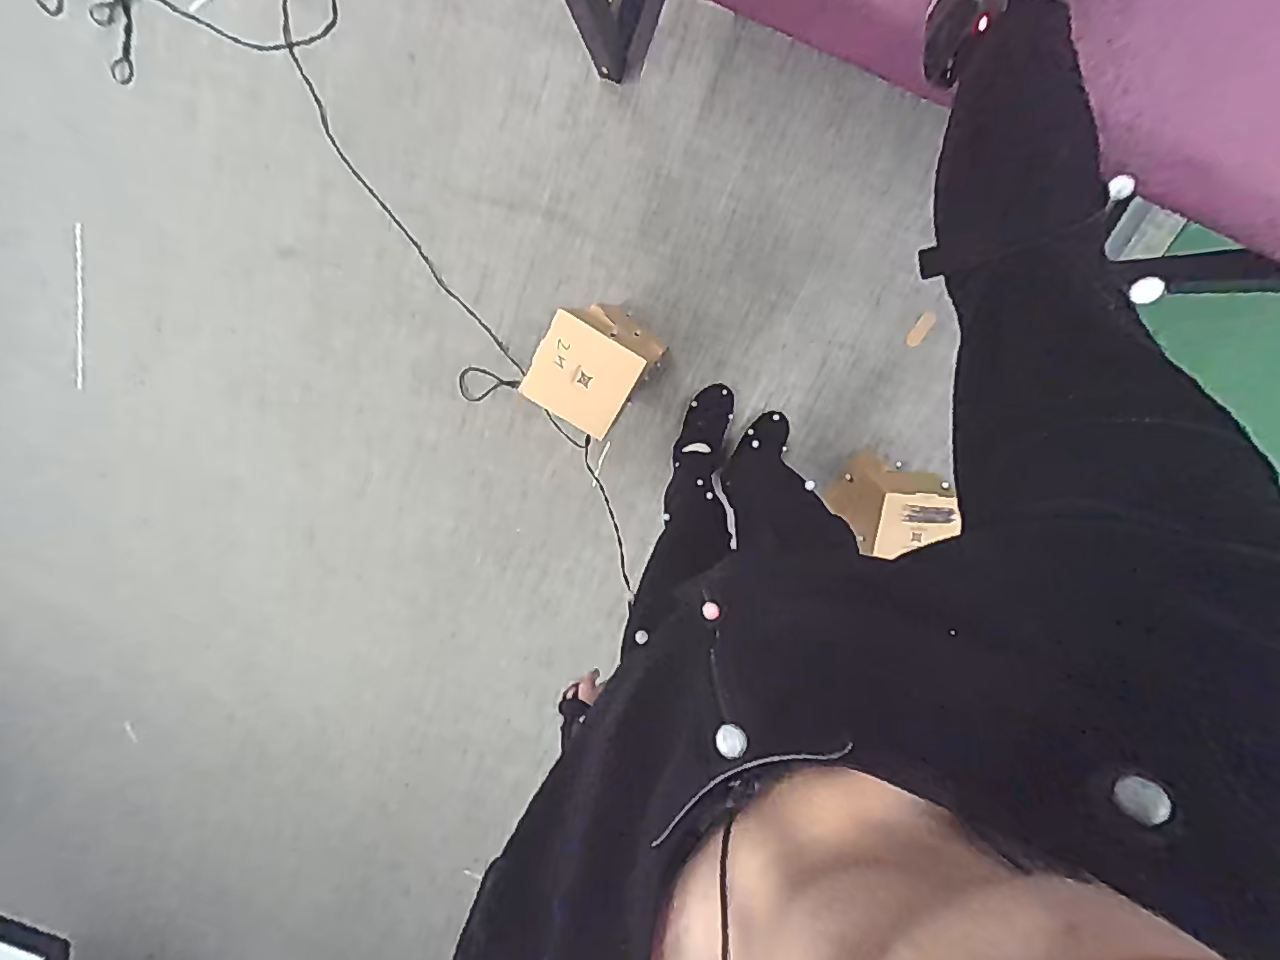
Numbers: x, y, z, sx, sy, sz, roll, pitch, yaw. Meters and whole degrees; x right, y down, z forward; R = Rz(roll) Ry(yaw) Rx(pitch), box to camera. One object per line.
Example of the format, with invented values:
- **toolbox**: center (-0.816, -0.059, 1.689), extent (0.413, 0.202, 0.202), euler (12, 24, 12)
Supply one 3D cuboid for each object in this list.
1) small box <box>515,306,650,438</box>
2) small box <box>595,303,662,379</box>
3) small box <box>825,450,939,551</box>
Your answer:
- **small box**: center (-0.096, -0.205, 1.000), extent (0.179, 0.176, 0.168), euler (32, 107, -3)
- **small box**: center (-0.060, -0.309, 1.307), extent (0.168, 0.176, 0.179), euler (38, 109, -6)
- **small box**: center (0.591, 0.040, 1.350), extent (0.179, 0.176, 0.168), euler (32, 109, -4)
